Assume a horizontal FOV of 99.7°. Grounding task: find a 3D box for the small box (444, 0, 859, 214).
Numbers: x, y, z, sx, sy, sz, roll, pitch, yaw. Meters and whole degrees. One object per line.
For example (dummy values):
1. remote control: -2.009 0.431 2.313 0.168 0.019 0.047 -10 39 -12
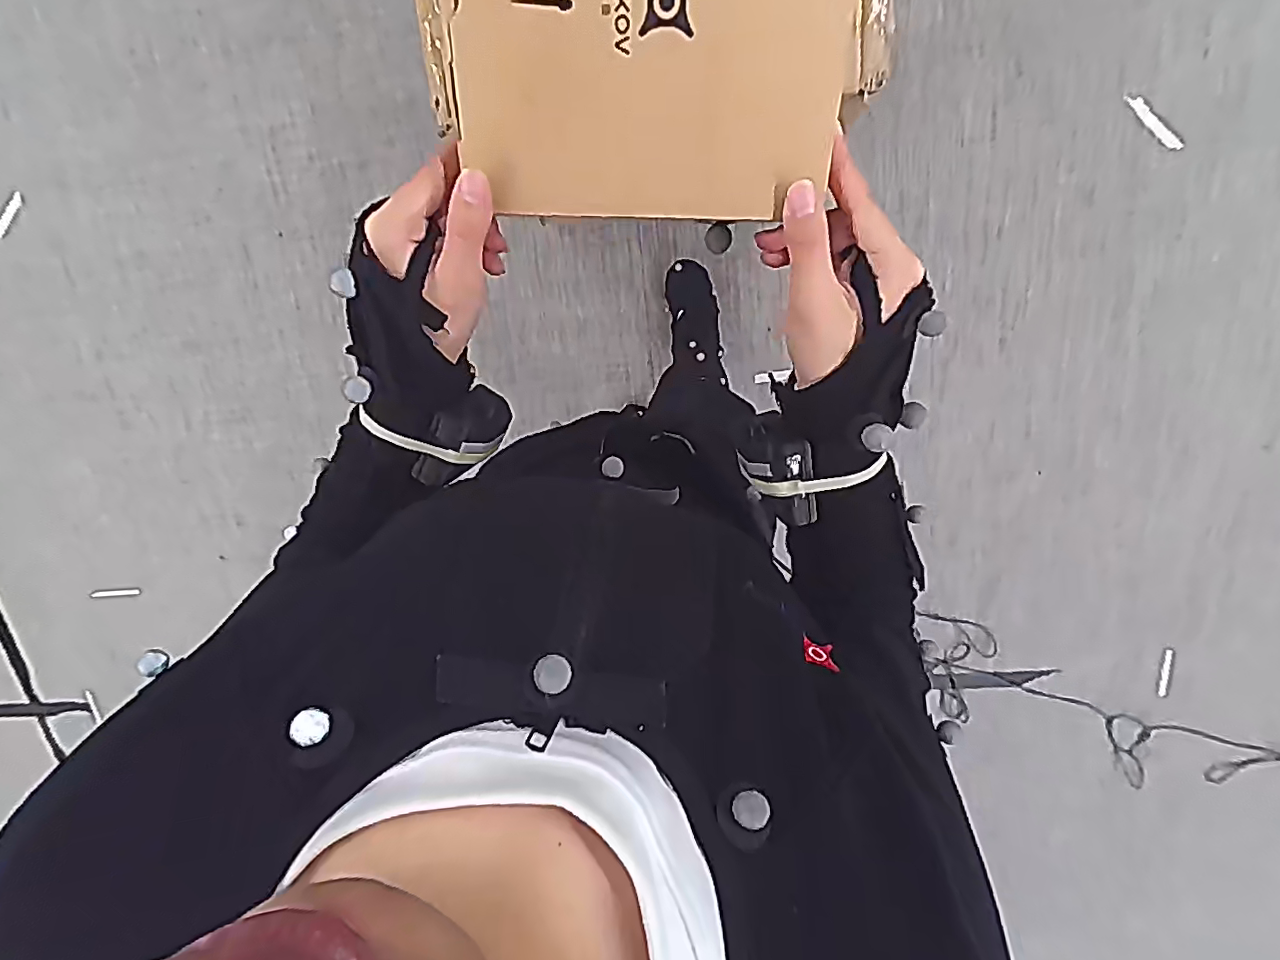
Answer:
1. small box: 0.006 -0.241 0.293 0.179 0.176 0.168 2 117 1
